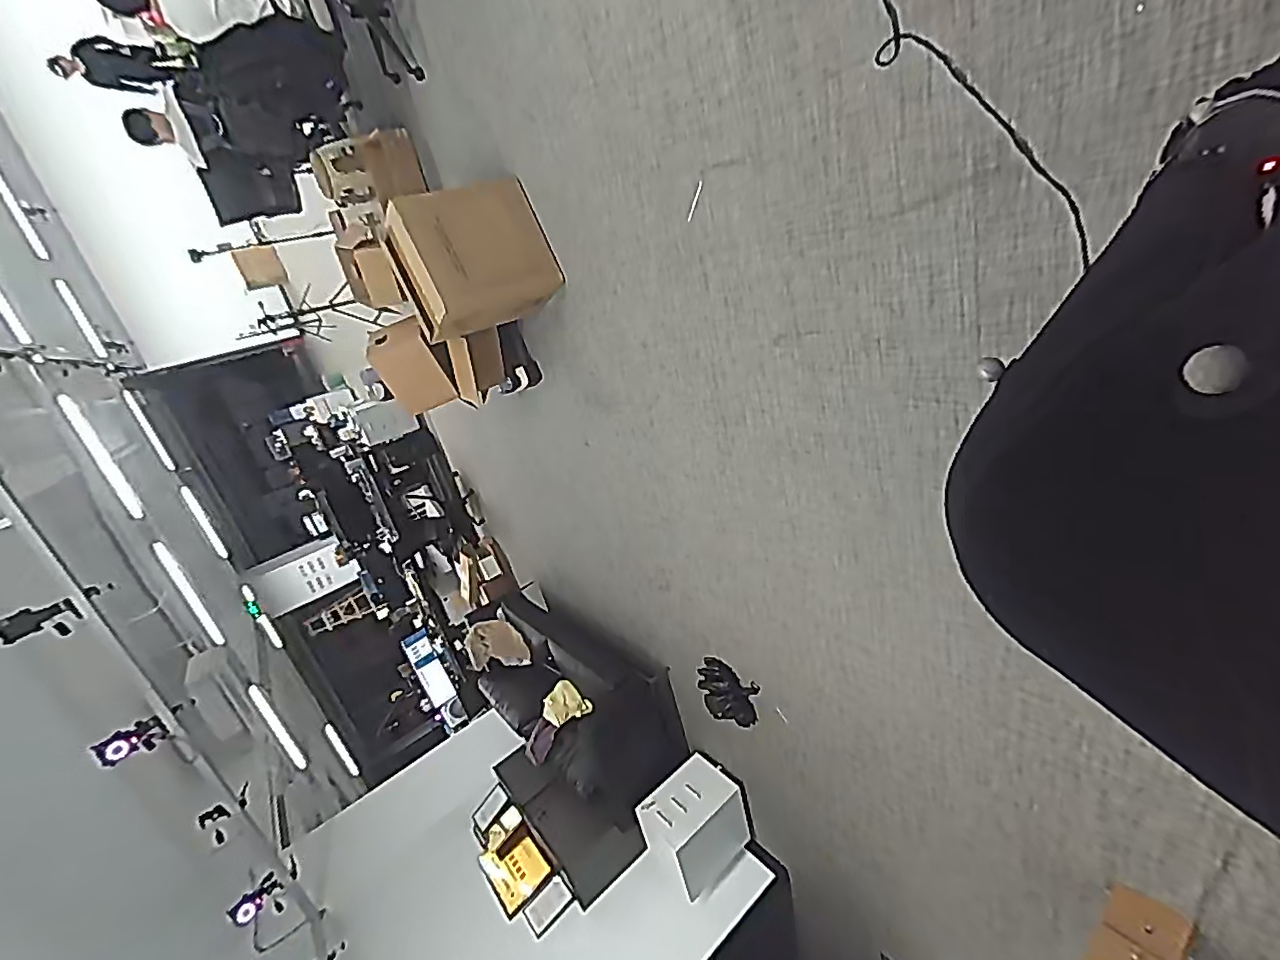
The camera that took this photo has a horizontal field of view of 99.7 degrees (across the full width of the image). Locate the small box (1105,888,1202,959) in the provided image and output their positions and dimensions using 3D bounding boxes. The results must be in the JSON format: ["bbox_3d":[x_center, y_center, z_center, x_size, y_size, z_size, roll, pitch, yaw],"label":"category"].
[{"bbox_3d":[1.489,1.345,1.574,0.179,0.176,0.168,12,124,51],"label":"small box"}]

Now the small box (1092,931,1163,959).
[{"bbox_3d":[1.363,1.402,1.488,0.179,0.176,0.168,16,127,51],"label":"small box"}]
